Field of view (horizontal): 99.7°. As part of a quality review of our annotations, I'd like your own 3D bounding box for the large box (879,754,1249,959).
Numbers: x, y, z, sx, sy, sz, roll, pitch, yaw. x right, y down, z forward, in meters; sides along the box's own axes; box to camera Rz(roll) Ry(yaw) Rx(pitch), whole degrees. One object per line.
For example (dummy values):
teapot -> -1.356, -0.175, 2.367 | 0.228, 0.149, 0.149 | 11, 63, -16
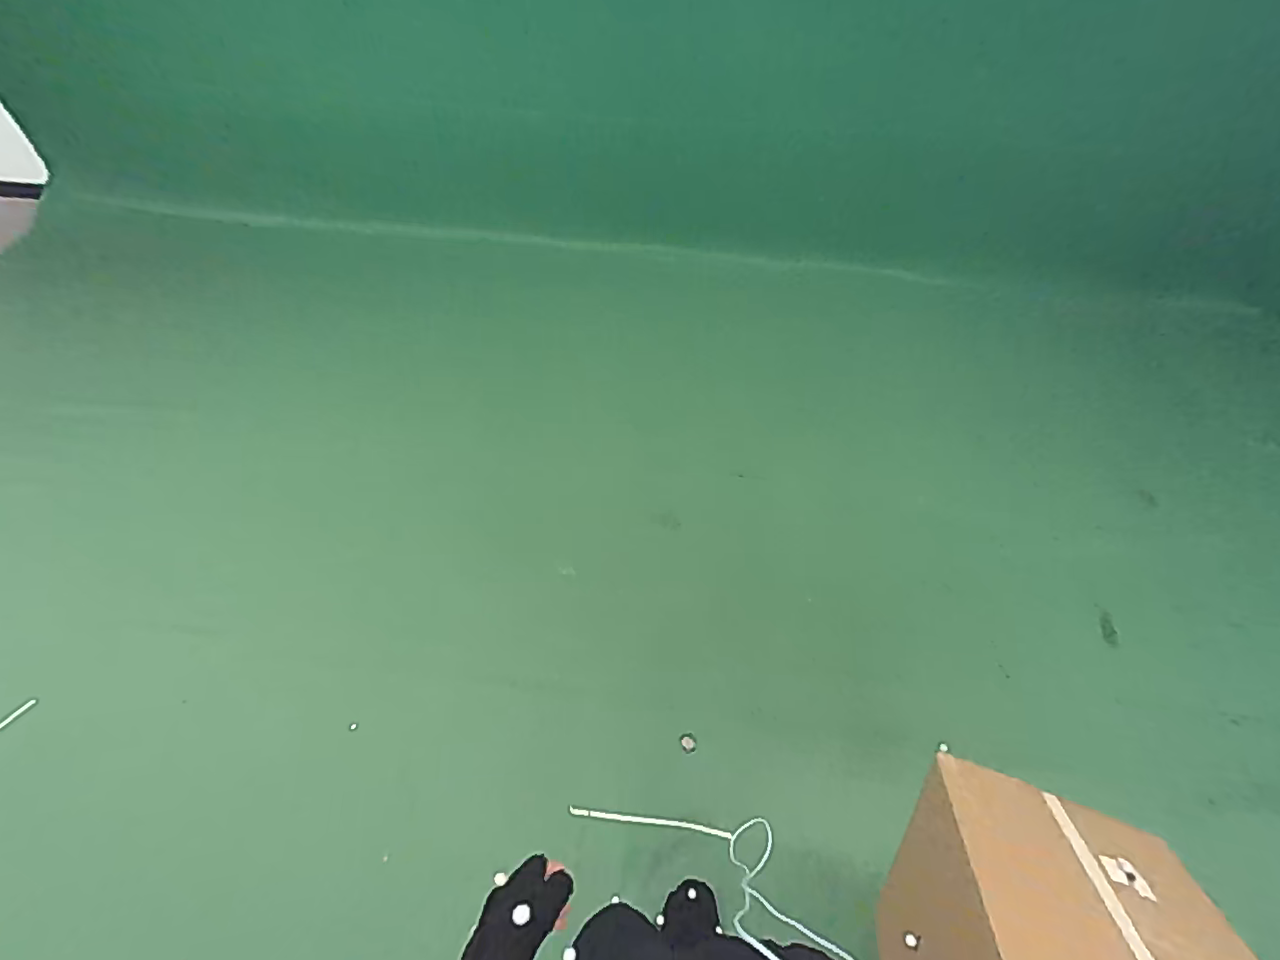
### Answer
large box -> 0.521, 0.651, 0.679 | 0.320, 0.320, 0.408 | 18, 12, 16
